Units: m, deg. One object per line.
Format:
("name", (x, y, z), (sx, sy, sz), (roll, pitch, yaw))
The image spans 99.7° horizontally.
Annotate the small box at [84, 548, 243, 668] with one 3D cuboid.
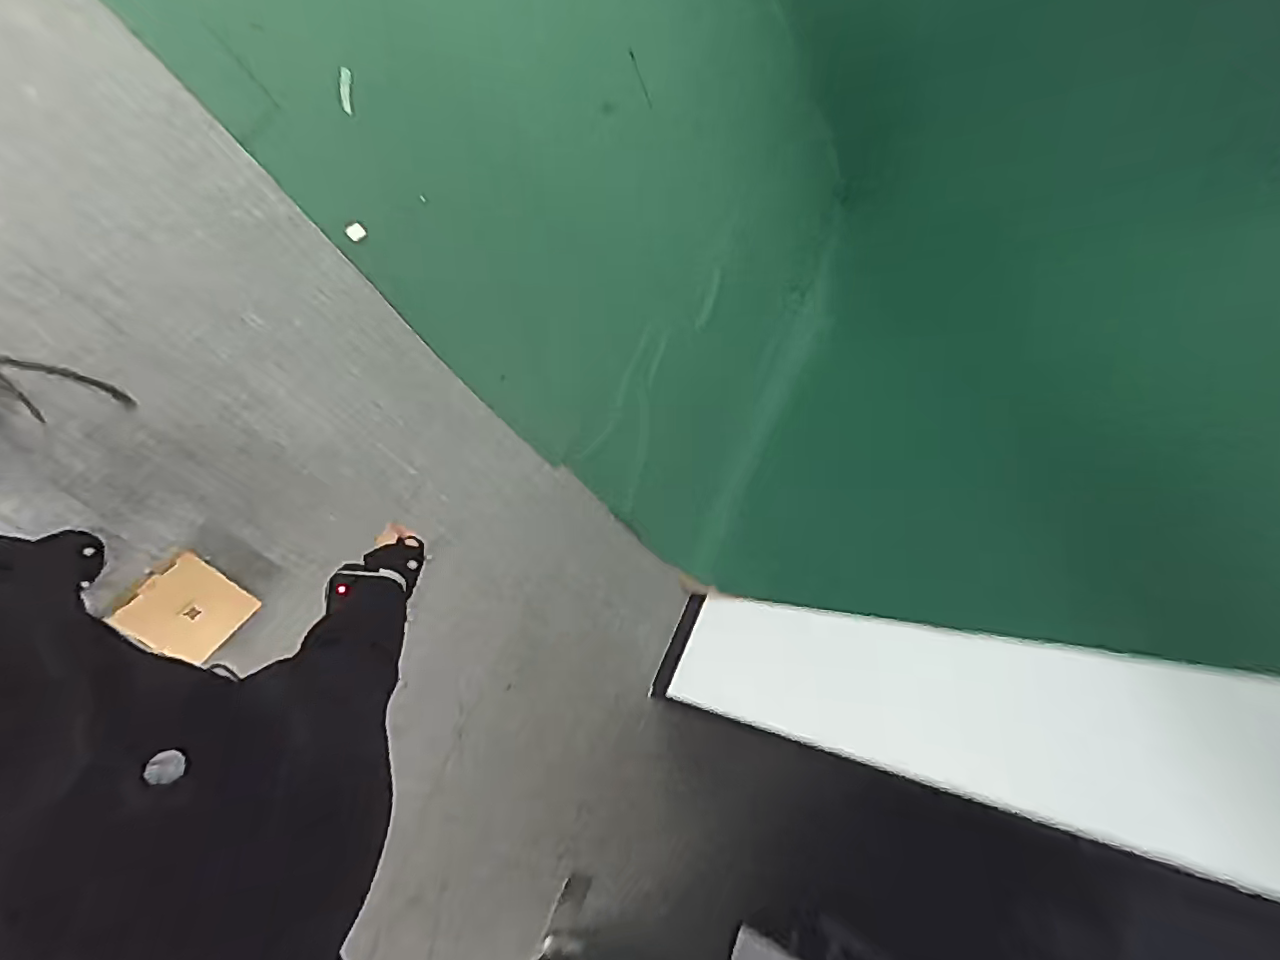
("small box", (-0.969, 0.252, 1.103), (0.179, 0.176, 0.168), (55, 51, -30))
